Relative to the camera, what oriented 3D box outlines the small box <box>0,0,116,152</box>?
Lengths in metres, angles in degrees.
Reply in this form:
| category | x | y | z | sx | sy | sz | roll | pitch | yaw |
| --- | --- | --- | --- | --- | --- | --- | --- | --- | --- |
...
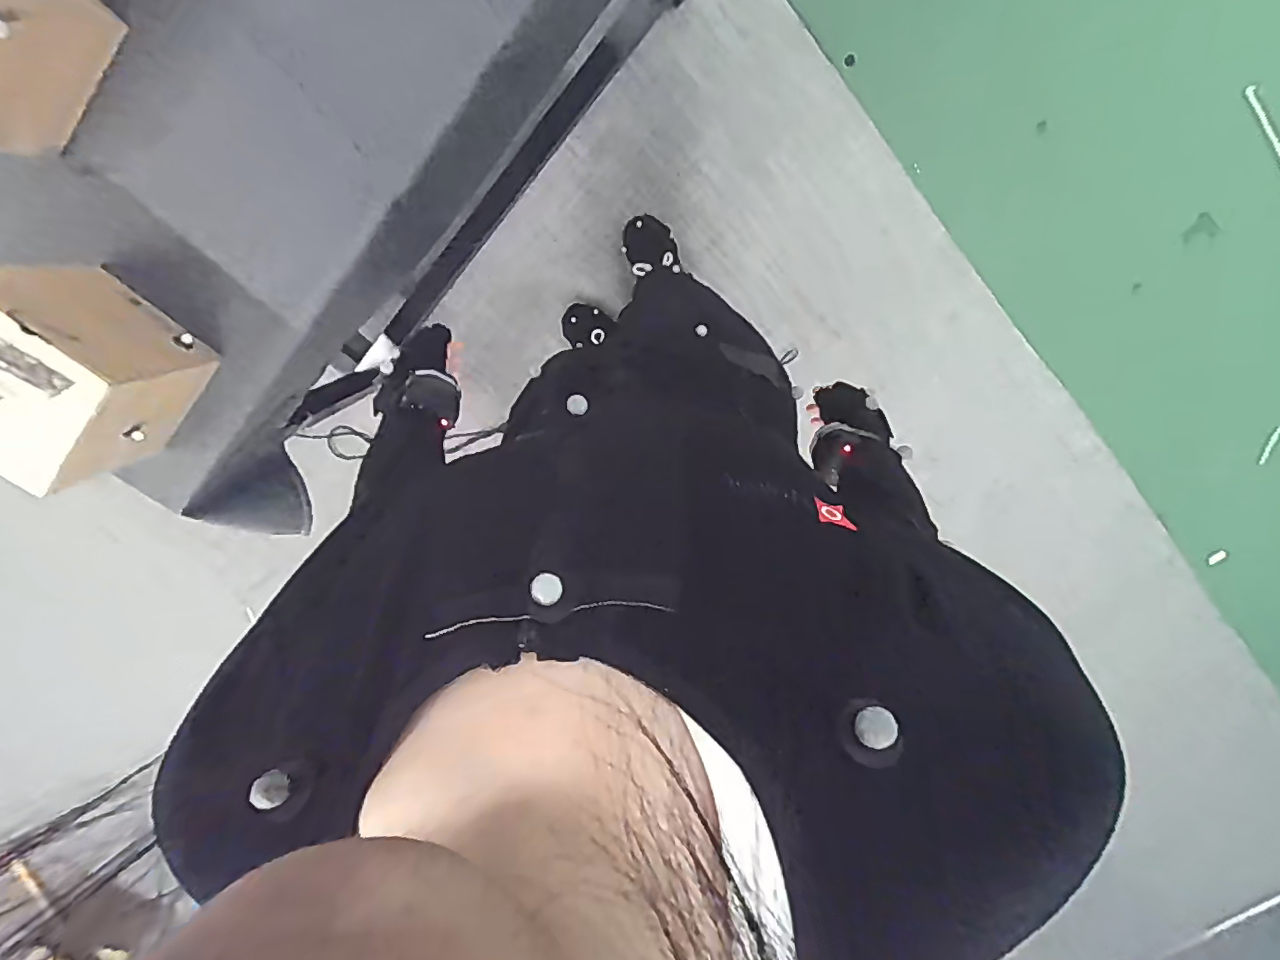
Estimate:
| category | x | y | z | sx | sy | sz | roll | pitch | yaw |
| --- | --- | --- | --- | --- | --- | --- | --- | --- | --- |
| small box | -0.646 | -0.440 | 0.487 | 0.179 | 0.176 | 0.168 | -43 | 108 | 14 |

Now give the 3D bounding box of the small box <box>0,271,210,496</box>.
| category | x | y | z | sx | sy | sz | roll | pitch | yaw |
| --- | --- | --- | --- | --- | --- | --- | --- | --- | --- |
| small box | -0.649 | -0.120 | 0.617 | 0.168 | 0.176 | 0.179 | 41 | 105 | -16 |
